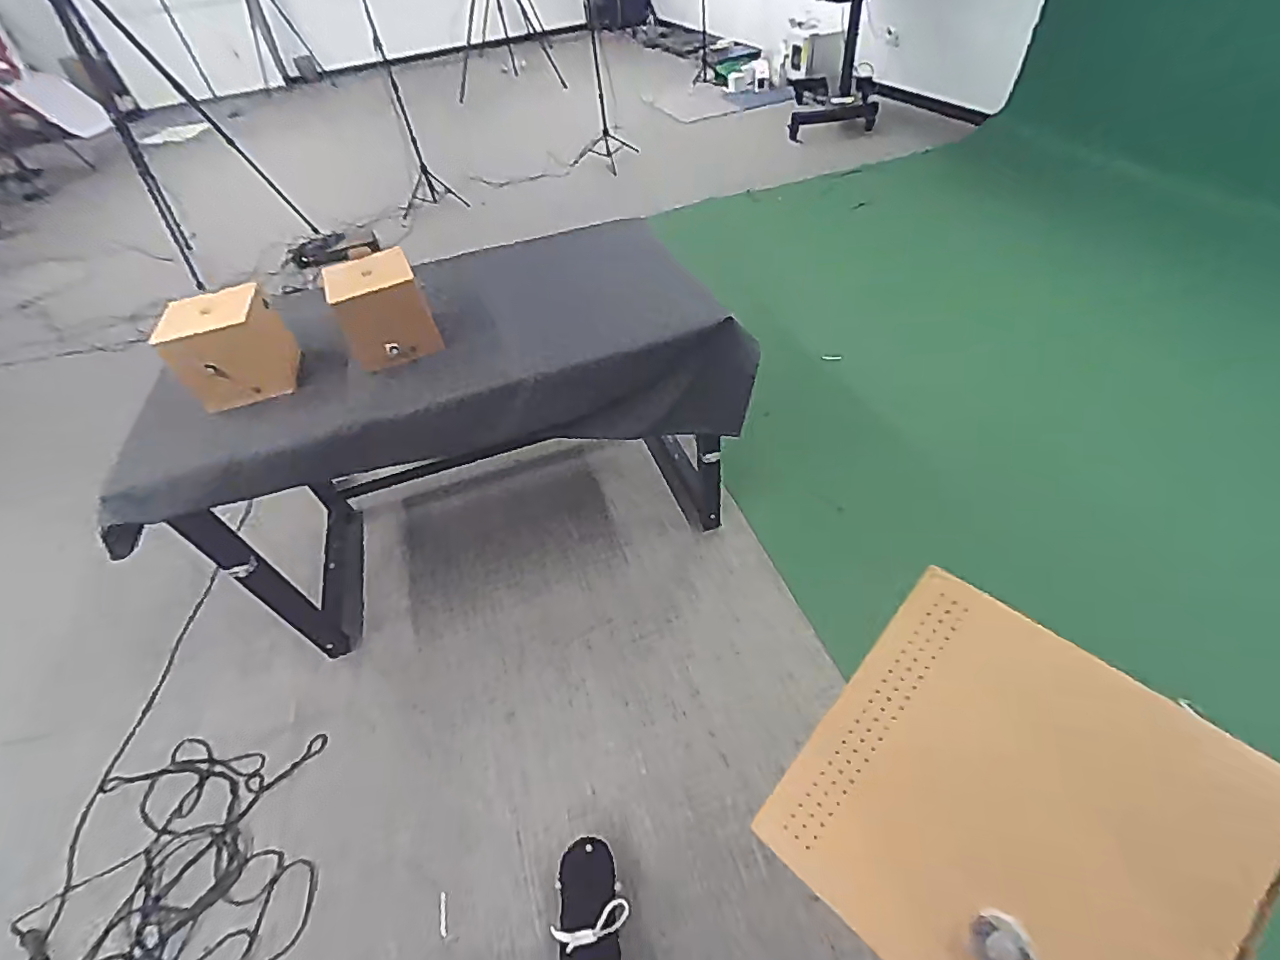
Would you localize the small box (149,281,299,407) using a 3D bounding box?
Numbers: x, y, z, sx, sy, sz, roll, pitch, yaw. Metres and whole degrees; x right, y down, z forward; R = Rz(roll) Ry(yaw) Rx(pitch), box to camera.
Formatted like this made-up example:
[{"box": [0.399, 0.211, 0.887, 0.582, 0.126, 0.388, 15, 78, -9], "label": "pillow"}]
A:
[{"box": [-0.814, -0.265, 1.081, 0.168, 0.176, 0.179, -19, 47, -10], "label": "small box"}]

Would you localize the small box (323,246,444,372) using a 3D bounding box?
[{"box": [-0.532, -0.355, 1.128, 0.168, 0.176, 0.179, -24, 49, -13], "label": "small box"}]
